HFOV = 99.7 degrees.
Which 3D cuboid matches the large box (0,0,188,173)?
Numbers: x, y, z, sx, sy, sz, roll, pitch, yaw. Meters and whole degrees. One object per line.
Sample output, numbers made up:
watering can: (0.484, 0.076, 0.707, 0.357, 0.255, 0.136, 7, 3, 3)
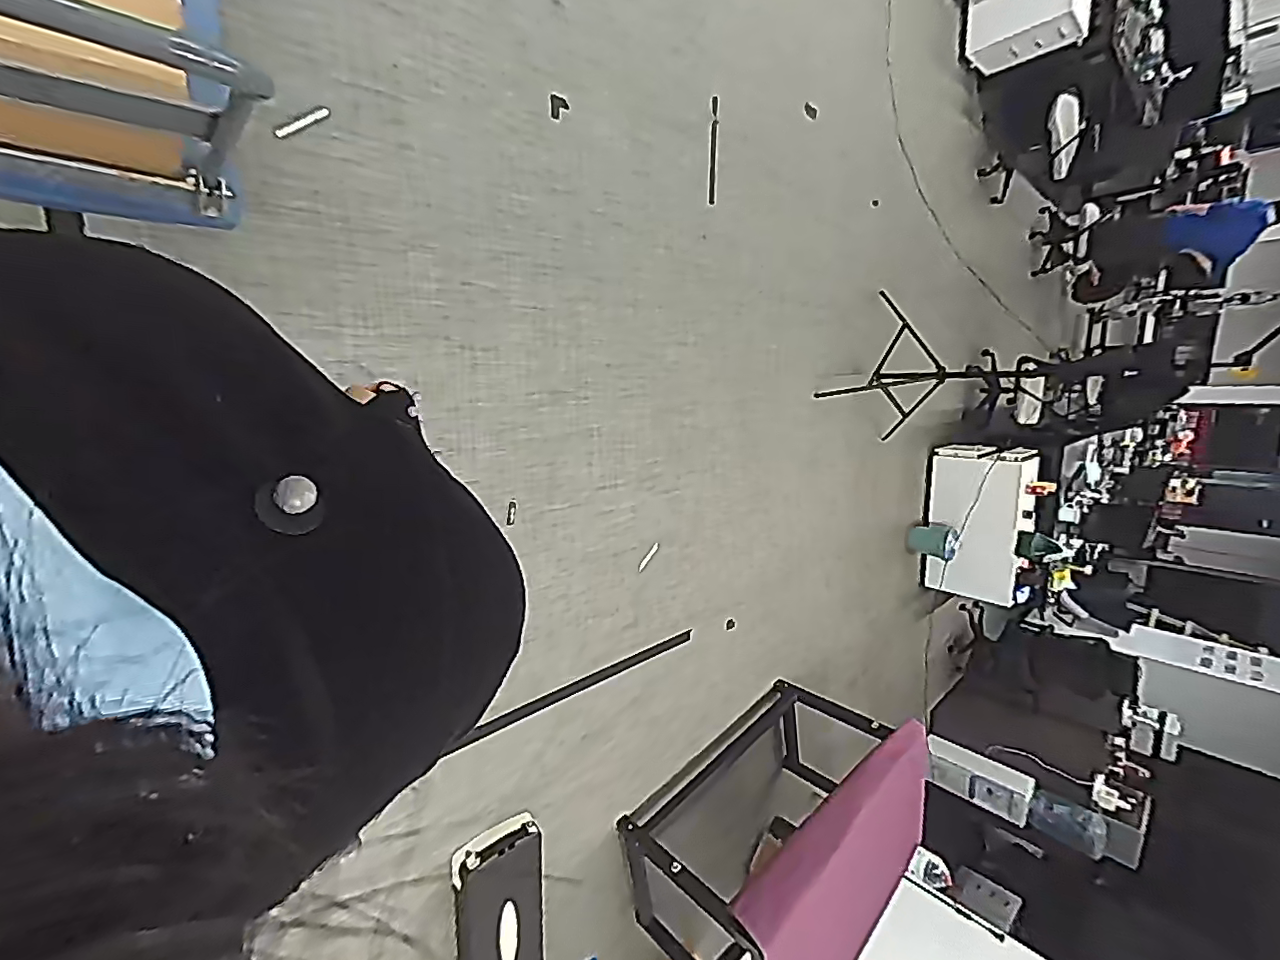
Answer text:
large box: (-0.905, -0.670, 0.733, 0.408, 0.320, 0.320, -9, 104, -42)
